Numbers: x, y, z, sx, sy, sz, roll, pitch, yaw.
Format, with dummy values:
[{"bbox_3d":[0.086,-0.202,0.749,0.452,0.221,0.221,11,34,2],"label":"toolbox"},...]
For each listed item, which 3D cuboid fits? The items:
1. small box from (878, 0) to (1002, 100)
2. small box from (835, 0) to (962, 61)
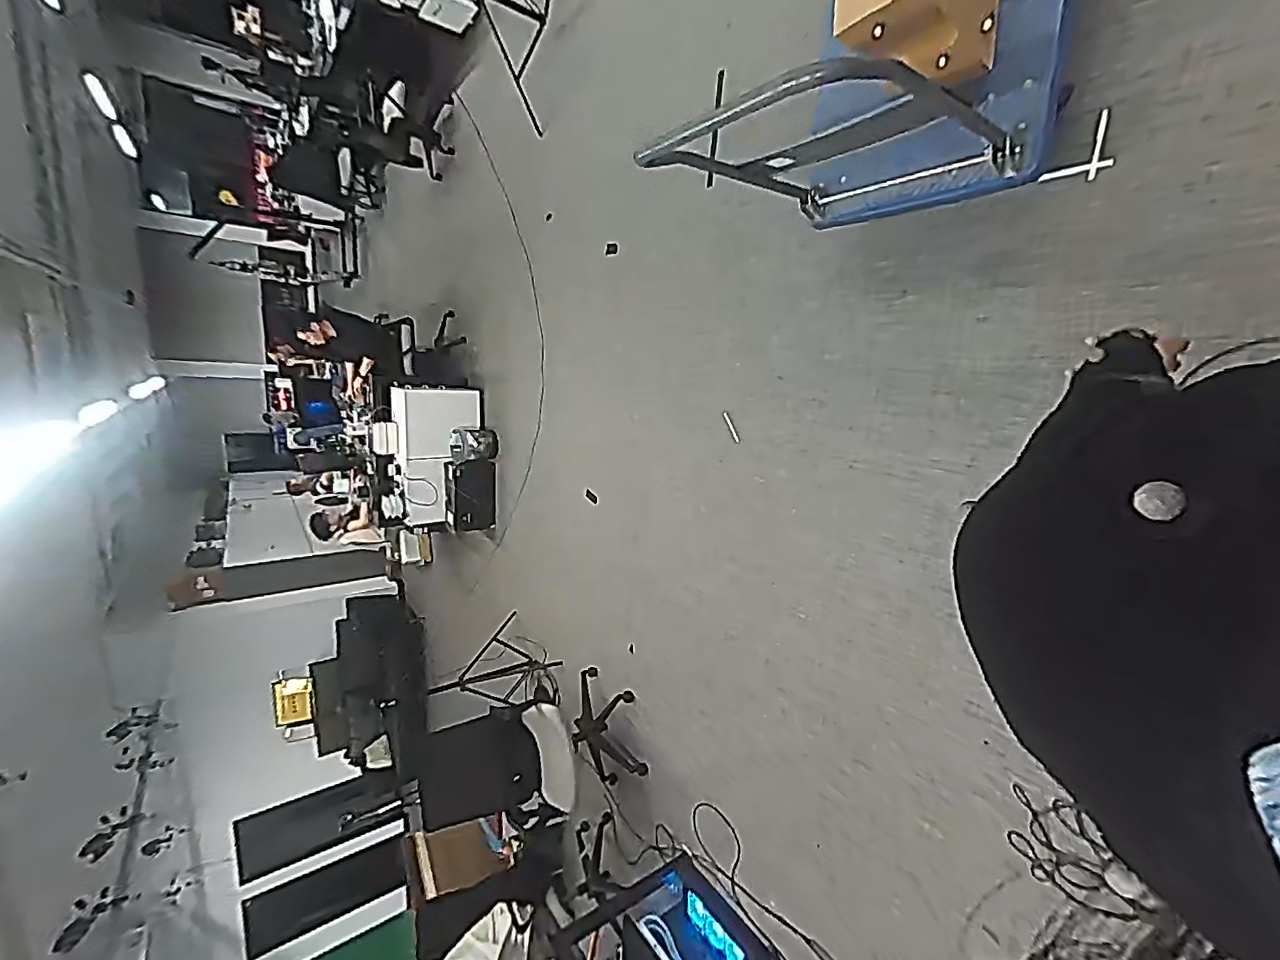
[{"bbox_3d":[0.649,-0.969,1.173,0.179,0.176,0.168,11,103,53],"label":"small box"},{"bbox_3d":[0.517,-0.983,1.073,0.179,0.176,0.168,12,104,52],"label":"small box"}]
